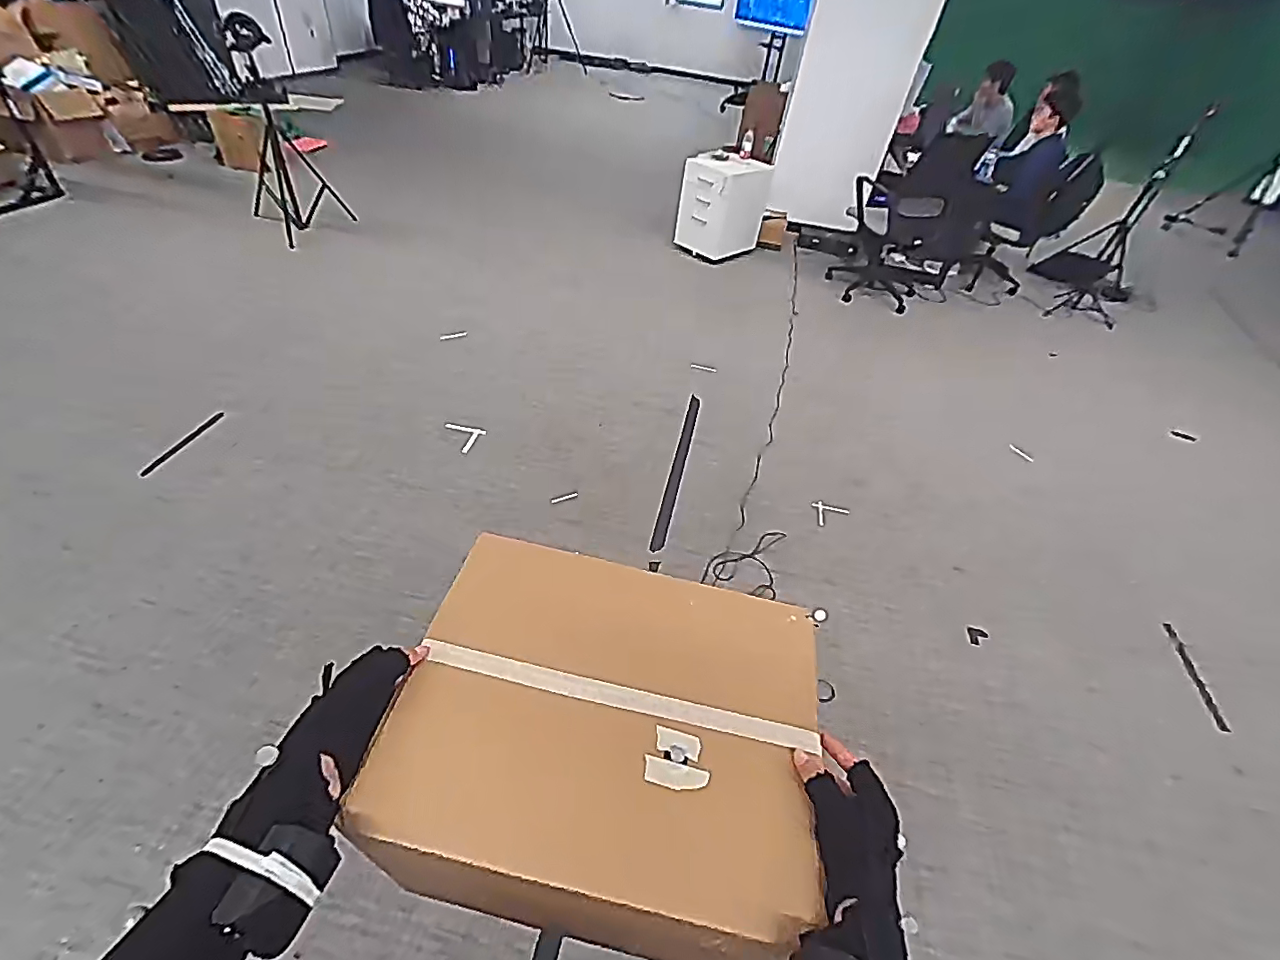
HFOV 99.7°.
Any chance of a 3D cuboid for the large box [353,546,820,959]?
[{"bbox_3d":[-0.042,0.328,0.650,0.408,0.320,0.320,13,46,3],"label":"large box"}]
